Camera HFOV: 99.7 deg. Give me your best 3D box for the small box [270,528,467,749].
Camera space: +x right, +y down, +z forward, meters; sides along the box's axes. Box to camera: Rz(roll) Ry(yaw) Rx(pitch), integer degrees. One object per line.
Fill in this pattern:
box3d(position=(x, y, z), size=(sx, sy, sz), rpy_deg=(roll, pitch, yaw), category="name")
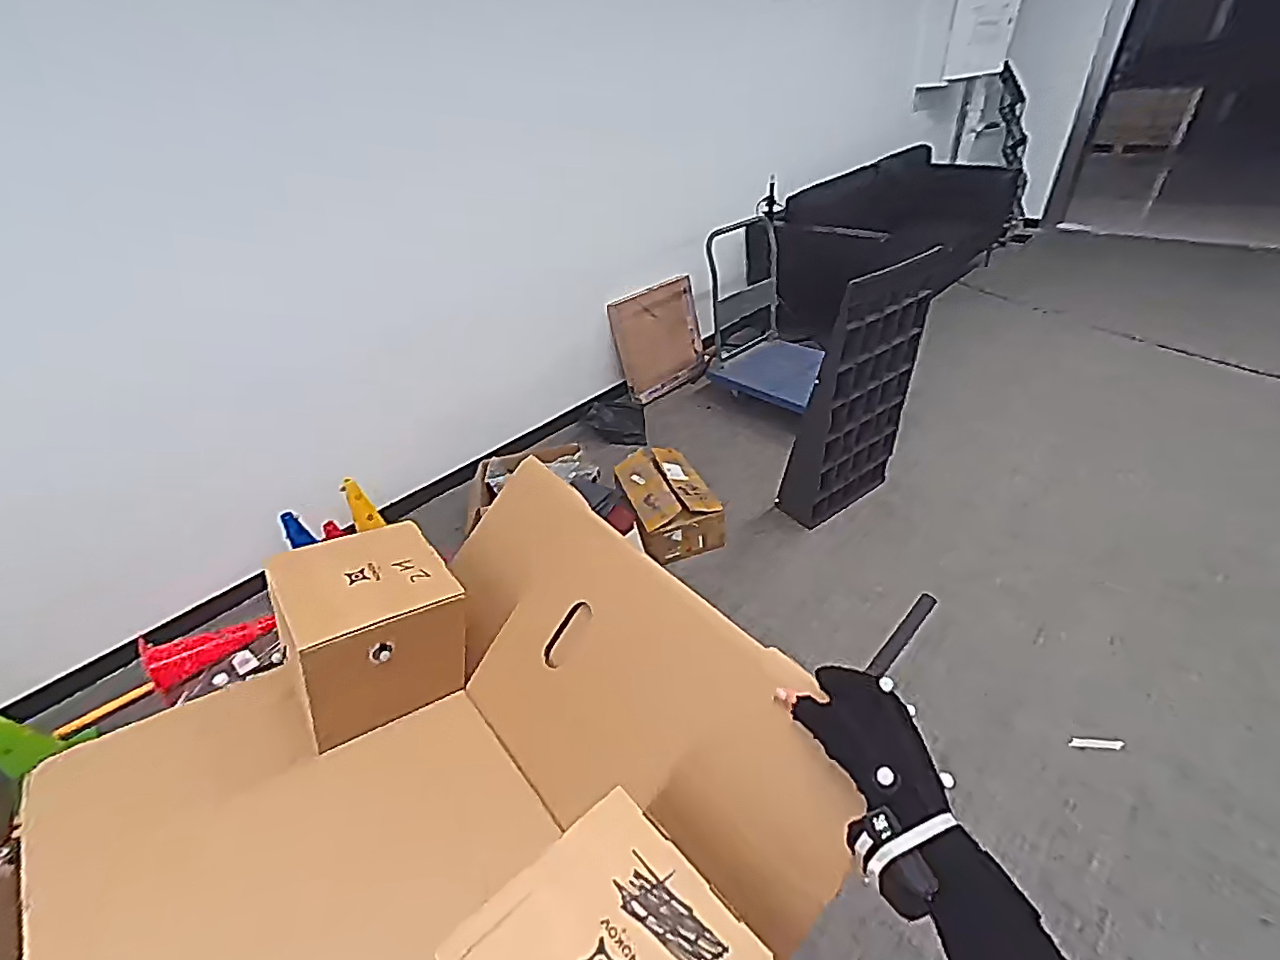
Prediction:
box3d(position=(-0.328, 0.189, 0.669), size=(0.179, 0.176, 0.168), rpy_deg=(-14, 38, -38), category="small box")
